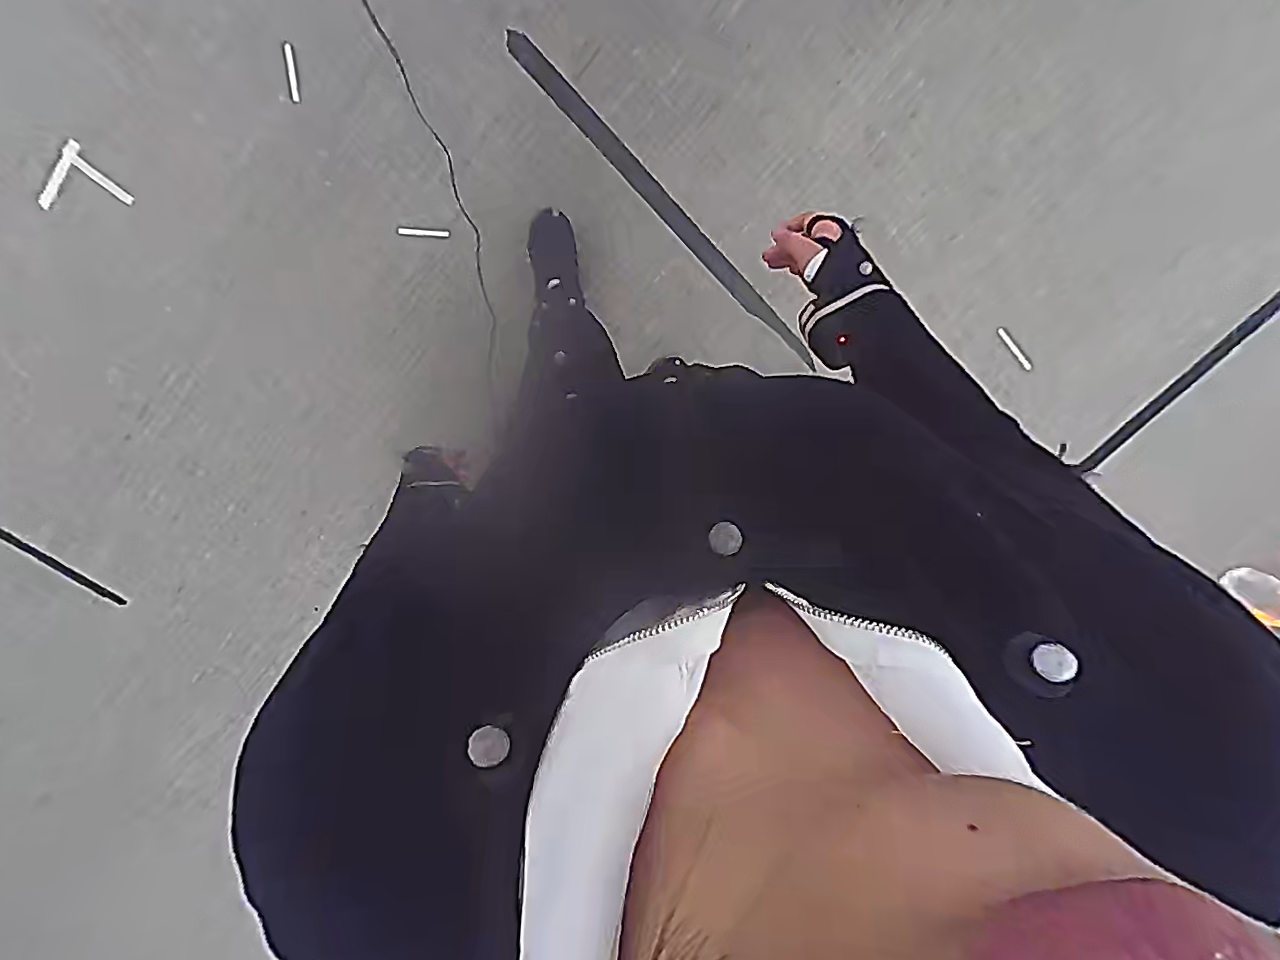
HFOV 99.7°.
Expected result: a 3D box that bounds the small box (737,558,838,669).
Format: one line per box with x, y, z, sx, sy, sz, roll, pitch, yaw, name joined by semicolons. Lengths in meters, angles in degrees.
0.366;0.339;1.387;0.179;0.176;0.168;-42;107;14;small box
